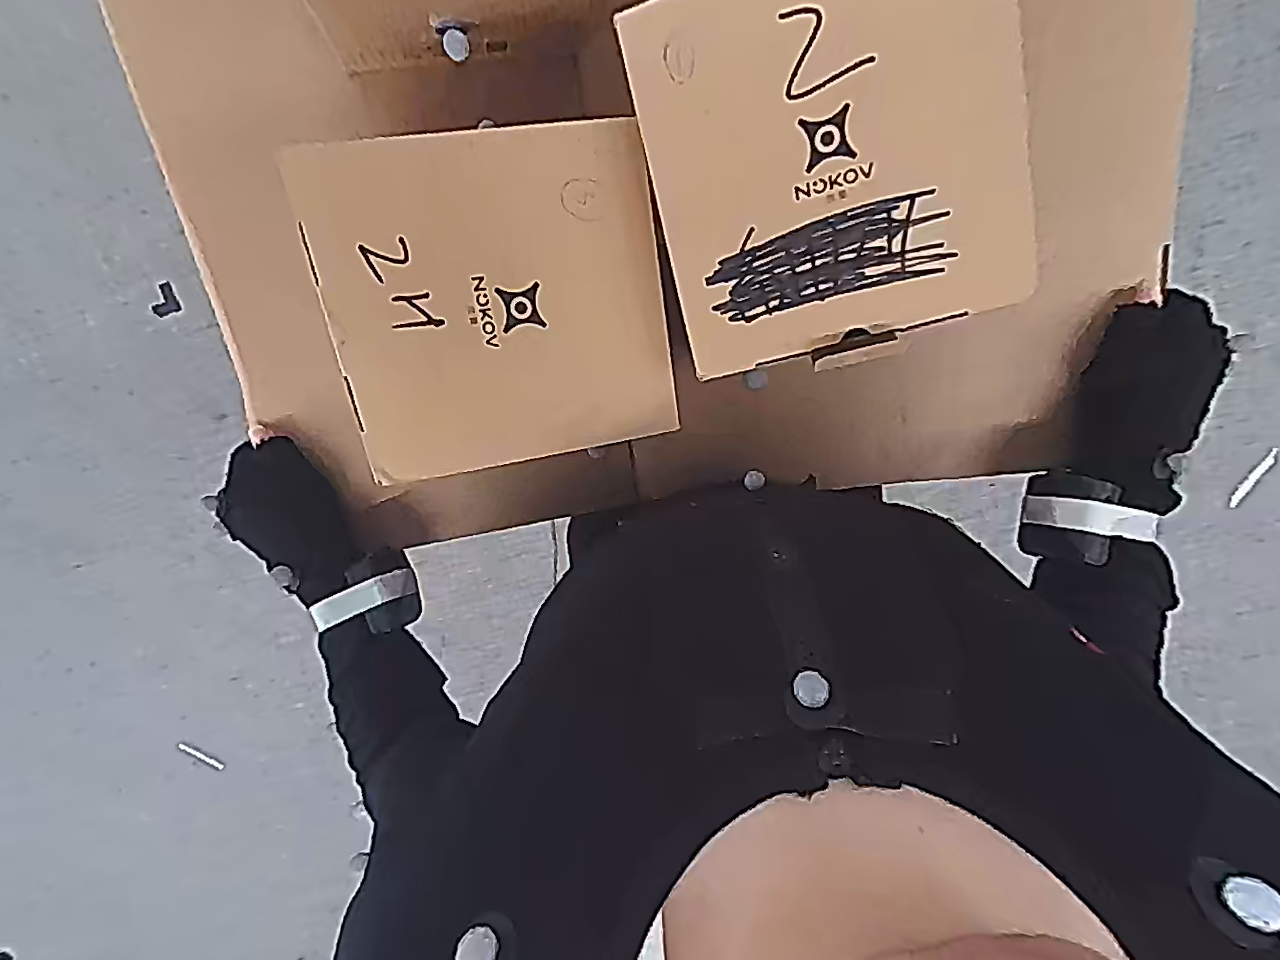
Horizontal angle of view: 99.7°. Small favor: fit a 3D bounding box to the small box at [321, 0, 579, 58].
[{"bbox_3d":[-0.122,-0.369,0.288,0.168,0.176,0.179,-12,108,-10],"label":"small box"}]
